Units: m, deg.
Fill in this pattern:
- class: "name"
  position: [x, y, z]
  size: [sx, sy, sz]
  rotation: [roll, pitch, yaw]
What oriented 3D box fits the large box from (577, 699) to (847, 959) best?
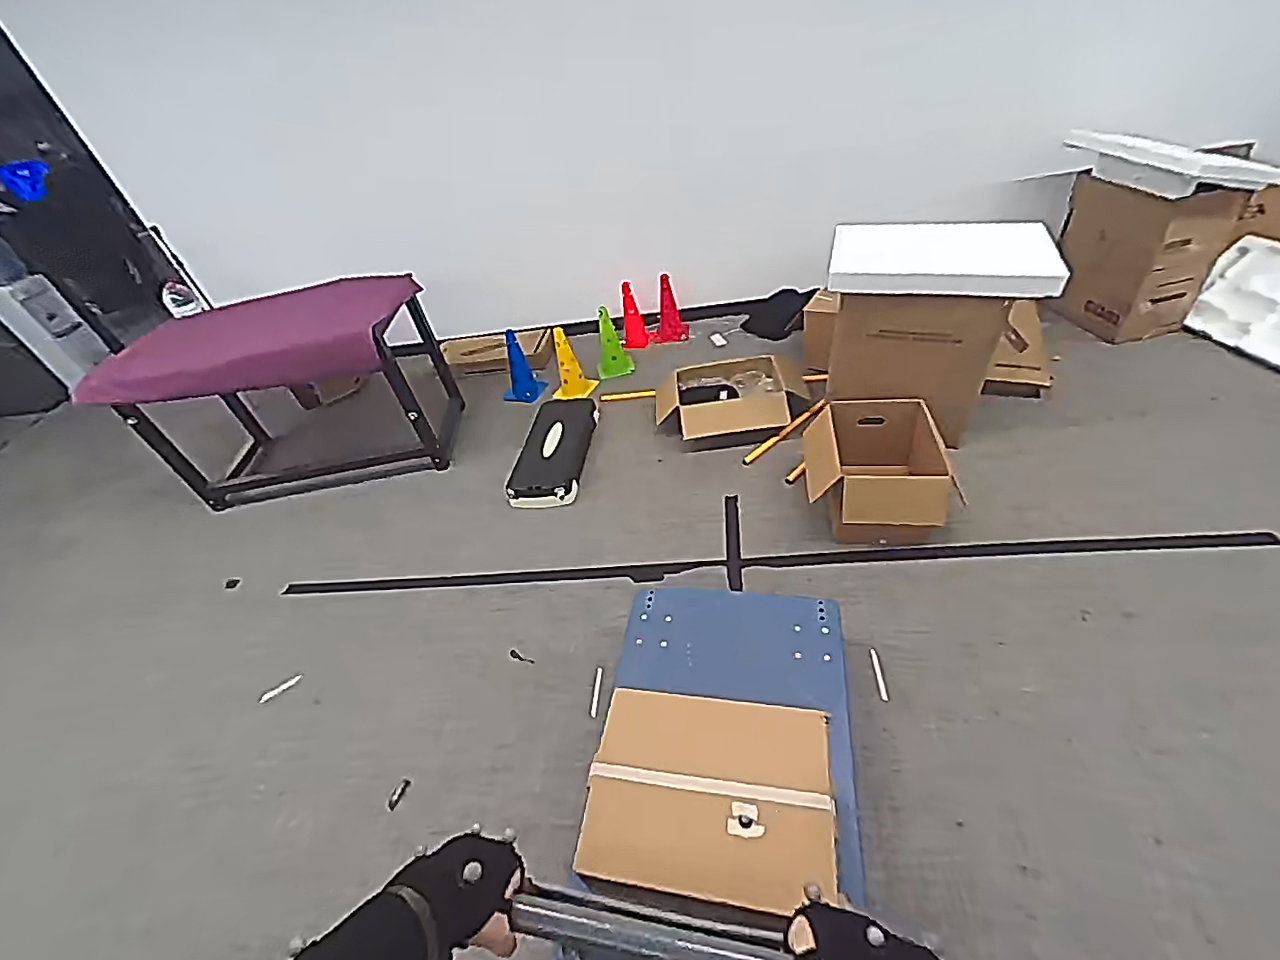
- class: "large box"
  position: [0.139, 0.639, 0.991]
  size: [0.408, 0.320, 0.320]
  rotation: [1, 42, 14]
